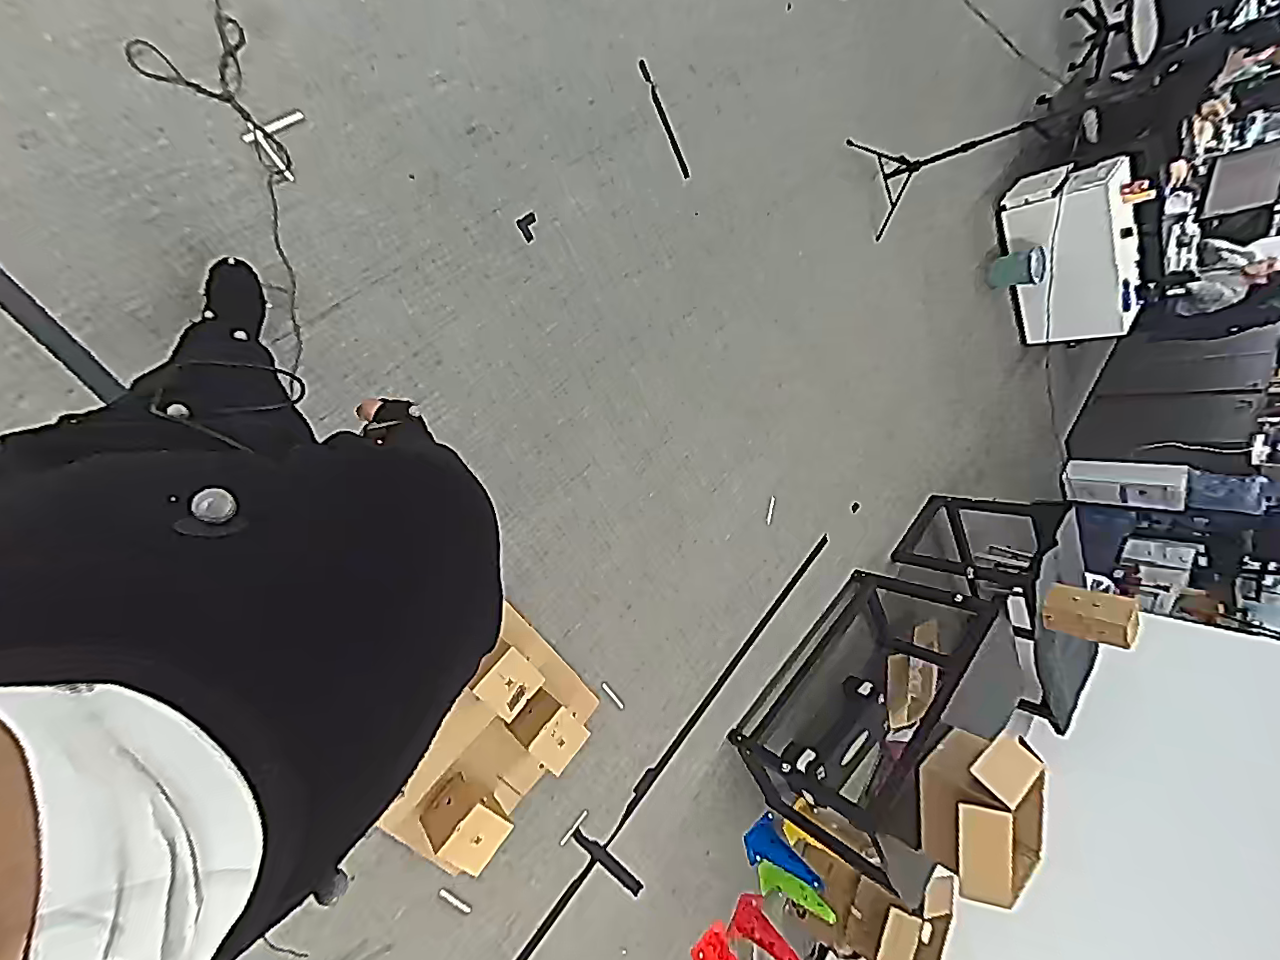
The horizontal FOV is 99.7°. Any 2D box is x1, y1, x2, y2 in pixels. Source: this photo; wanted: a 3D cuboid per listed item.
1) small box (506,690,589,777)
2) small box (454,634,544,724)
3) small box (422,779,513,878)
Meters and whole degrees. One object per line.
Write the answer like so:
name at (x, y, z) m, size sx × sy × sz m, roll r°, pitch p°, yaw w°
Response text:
small box at (-0.306, 0.828, 1.782) m, size 0.168 × 0.176 × 0.179 m, roll -47°, pitch 119°, yaw -24°
small box at (-0.435, 0.603, 1.663) m, size 0.168 × 0.176 × 0.179 m, roll -48°, pitch 119°, yaw -24°
small box at (-0.528, 1.052, 1.646) m, size 0.168 × 0.176 × 0.179 m, roll -50°, pitch 121°, yaw -22°
